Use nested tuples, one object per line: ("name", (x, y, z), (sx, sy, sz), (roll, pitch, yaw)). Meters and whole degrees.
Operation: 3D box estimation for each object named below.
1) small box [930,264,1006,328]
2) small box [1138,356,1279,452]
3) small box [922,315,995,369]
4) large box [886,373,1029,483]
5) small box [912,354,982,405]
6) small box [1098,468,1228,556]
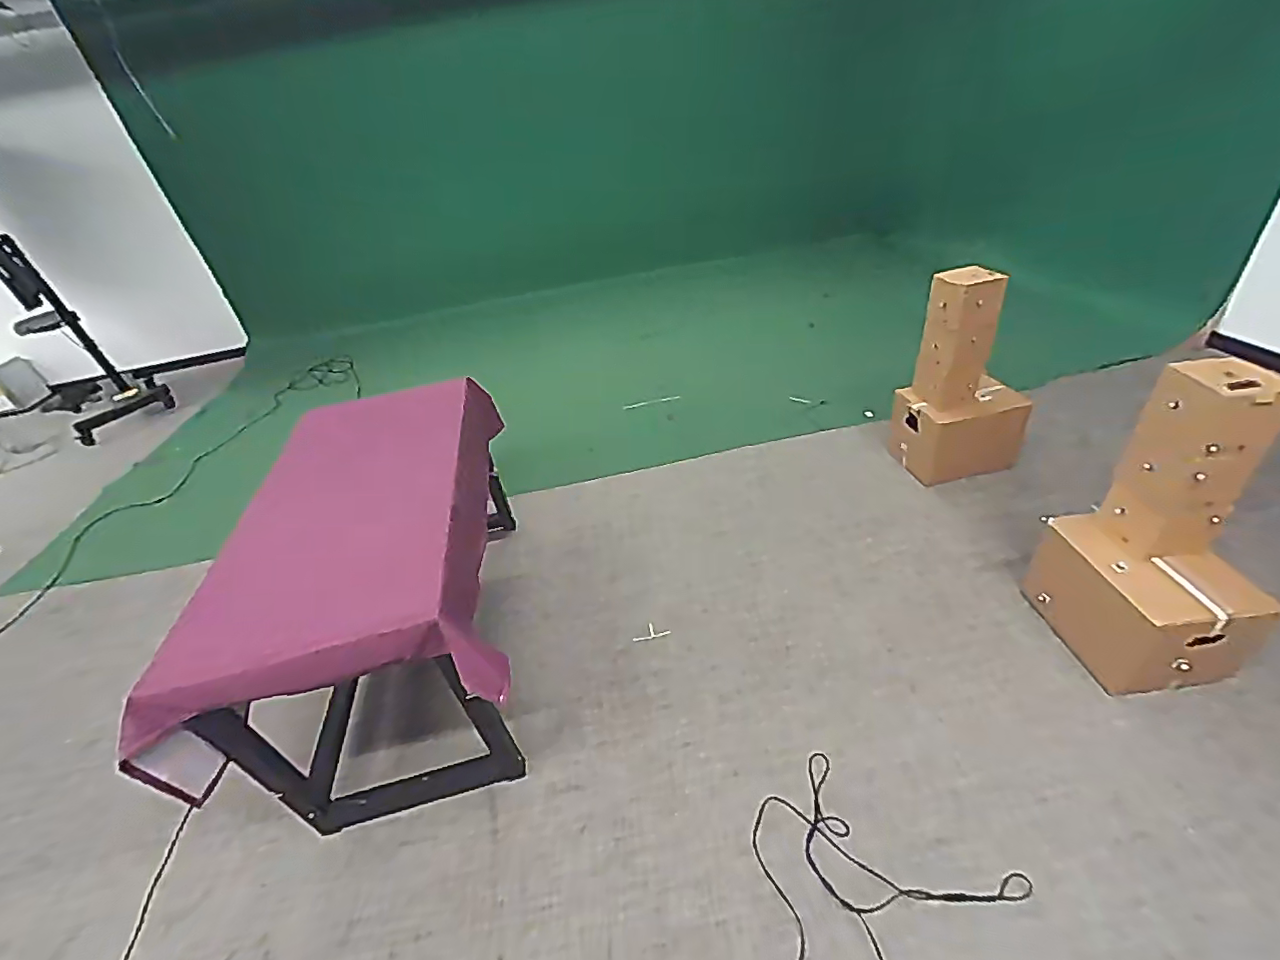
("small box", (1.199, -0.677, 1.996), (0.179, 0.176, 0.168), (-14, 37, -6))
("small box", (1.362, -0.176, 1.290), (0.168, 0.176, 0.179), (-5, 35, 4))
("small box", (1.222, -0.547, 2.095), (0.179, 0.176, 0.168), (-15, 37, -8))
("large box", (1.342, -0.227, 2.327), (0.408, 0.320, 0.320), (-12, 37, -4))
("small box", (1.237, -0.416, 2.192), (0.168, 0.176, 0.179), (-13, 35, -5))
("small box", (1.408, 0.090, 1.477), (0.179, 0.176, 0.168), (-7, 37, 1))
